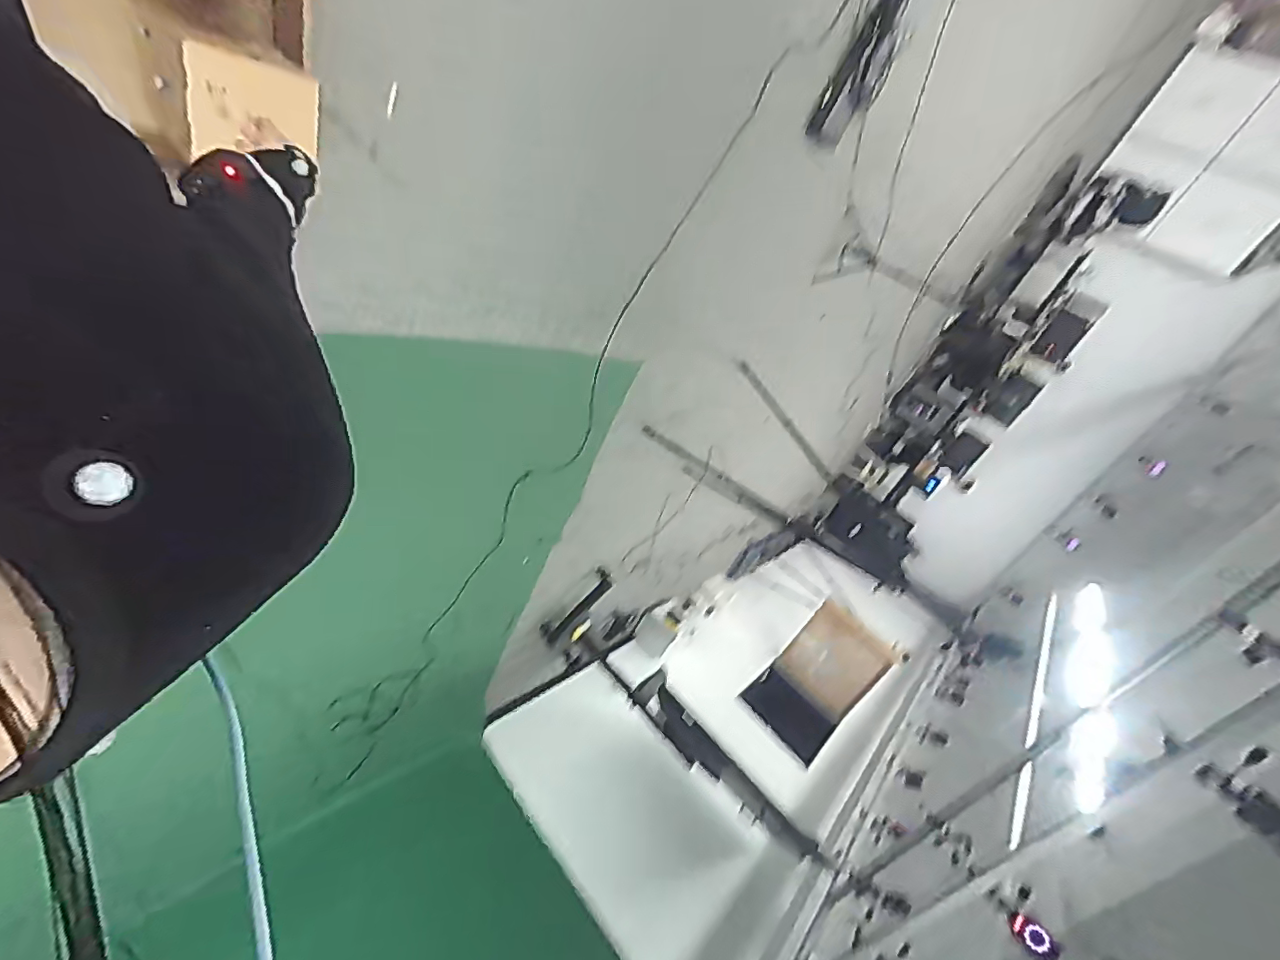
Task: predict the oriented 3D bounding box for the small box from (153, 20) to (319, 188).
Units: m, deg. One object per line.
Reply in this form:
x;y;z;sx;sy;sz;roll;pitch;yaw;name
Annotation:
-0.656;-0.610;0.885;0.179;0.176;0.168;-15;139;-46;small box
